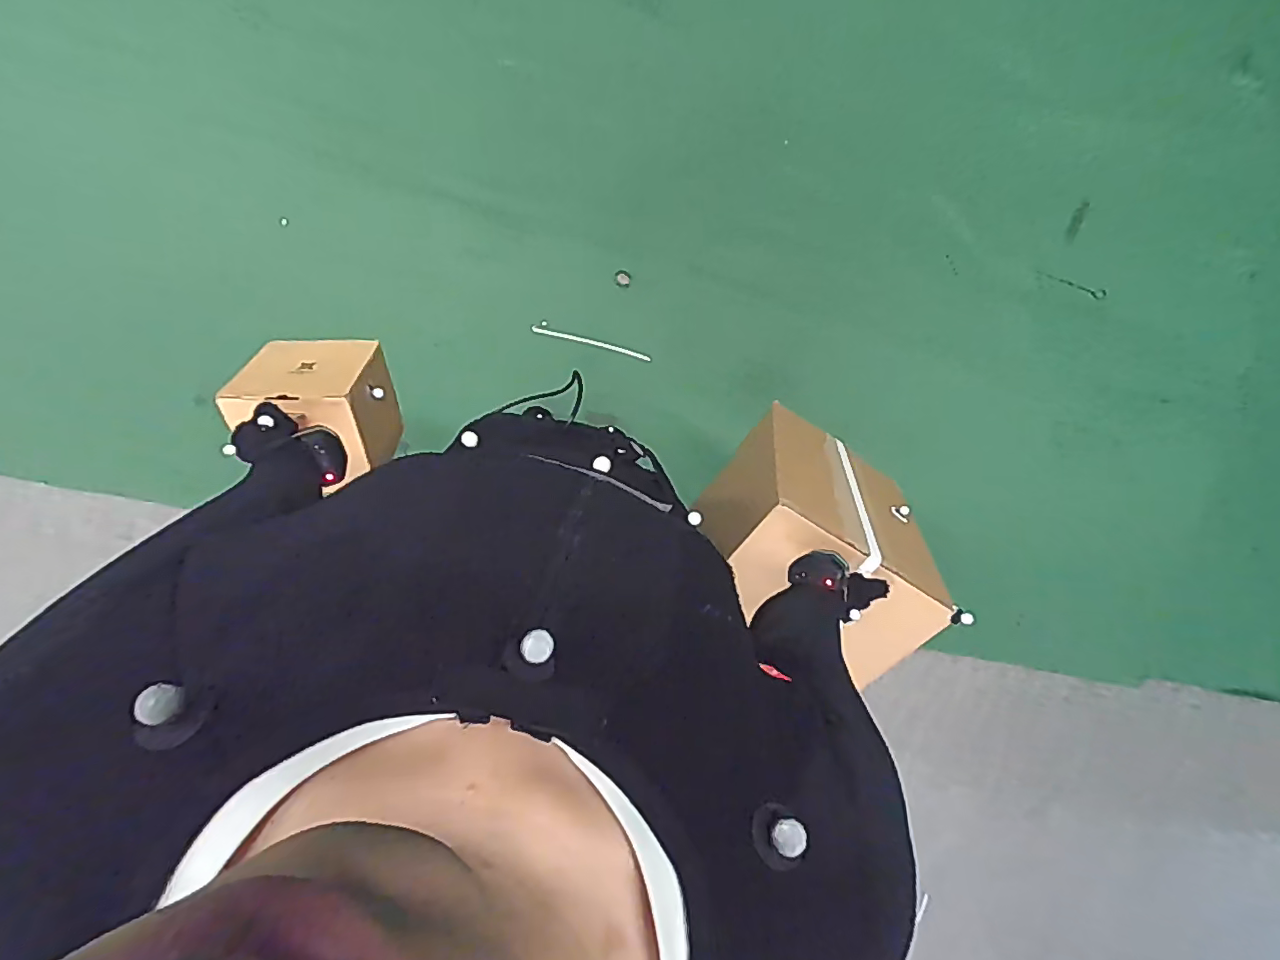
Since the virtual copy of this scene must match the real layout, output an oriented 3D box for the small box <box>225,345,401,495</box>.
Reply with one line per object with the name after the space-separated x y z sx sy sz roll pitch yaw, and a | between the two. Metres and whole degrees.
-0.486 -0.094 0.839 0.168 0.179 0.176 -1 129 -6 | small box
